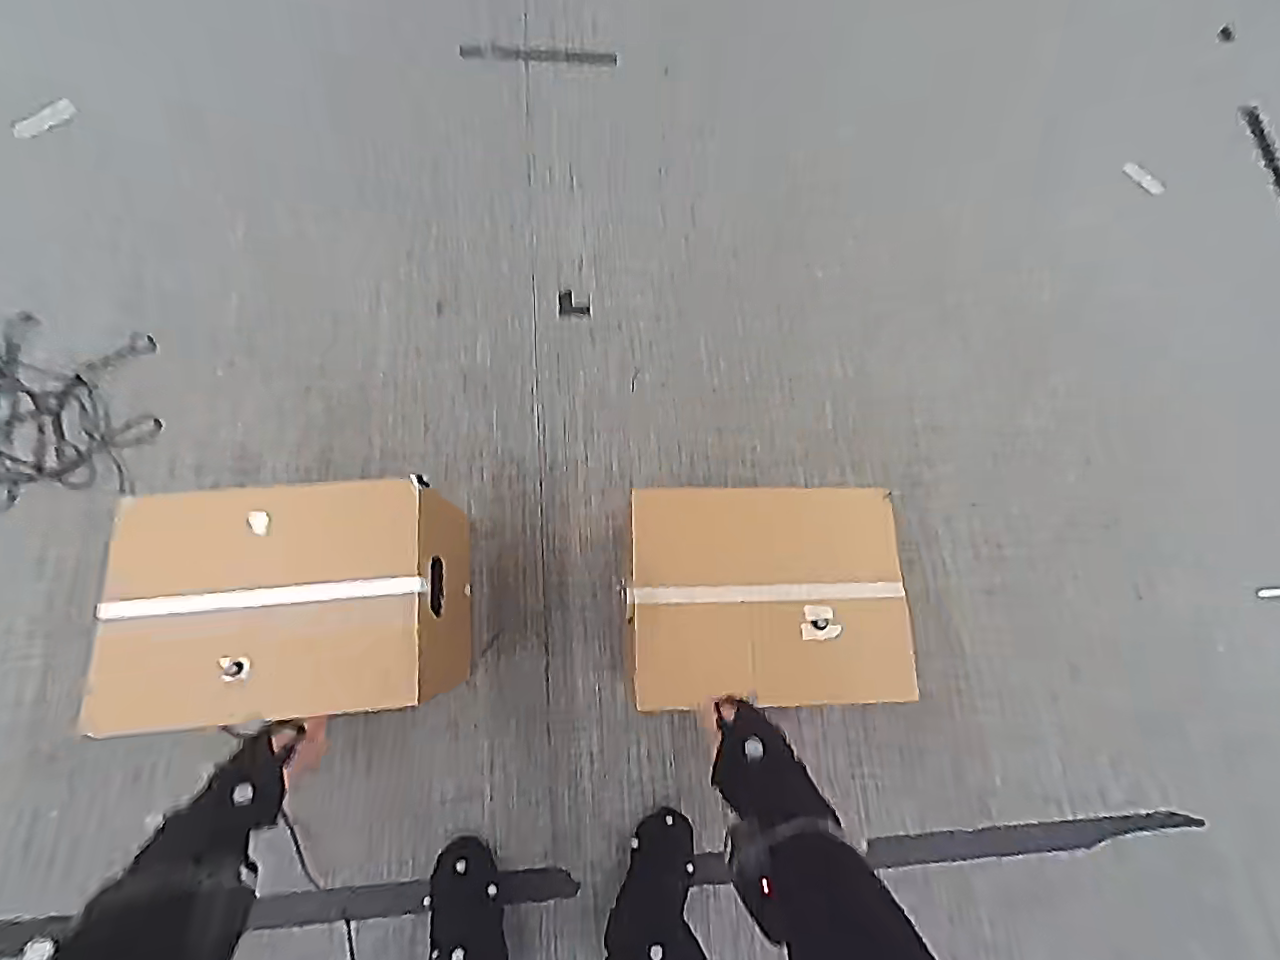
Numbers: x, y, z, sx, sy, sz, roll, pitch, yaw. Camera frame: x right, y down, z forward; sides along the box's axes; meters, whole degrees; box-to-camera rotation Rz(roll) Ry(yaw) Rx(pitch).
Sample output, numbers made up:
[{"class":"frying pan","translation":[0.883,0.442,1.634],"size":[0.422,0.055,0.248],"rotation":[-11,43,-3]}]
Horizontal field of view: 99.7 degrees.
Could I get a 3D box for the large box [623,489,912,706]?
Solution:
[{"class":"large box","translation":[0.181,0.204,0.948],"size":[0.408,0.320,0.320],"rotation":[0,75,-5]}]
